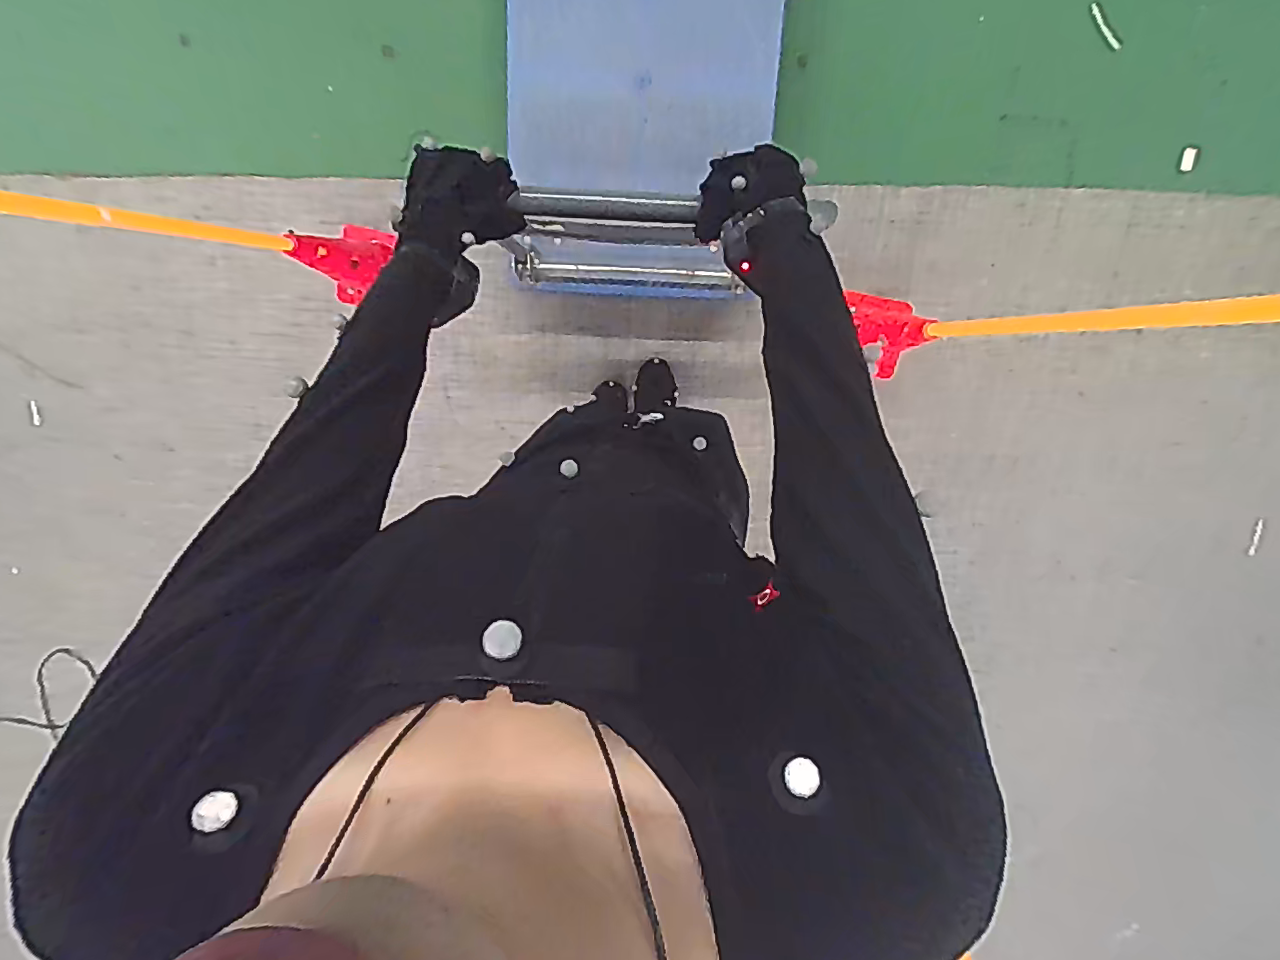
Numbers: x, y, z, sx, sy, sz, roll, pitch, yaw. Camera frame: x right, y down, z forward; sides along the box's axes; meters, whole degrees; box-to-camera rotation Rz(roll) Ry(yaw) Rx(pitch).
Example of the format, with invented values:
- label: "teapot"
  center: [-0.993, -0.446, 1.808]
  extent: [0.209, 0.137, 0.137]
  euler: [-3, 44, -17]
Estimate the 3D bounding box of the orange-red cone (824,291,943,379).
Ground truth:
- label: "orange-red cone"
  center: [0.590, -0.337, 1.242]
  extent: [0.198, 0.360, 0.199]
  euler: [12, 103, -1]
